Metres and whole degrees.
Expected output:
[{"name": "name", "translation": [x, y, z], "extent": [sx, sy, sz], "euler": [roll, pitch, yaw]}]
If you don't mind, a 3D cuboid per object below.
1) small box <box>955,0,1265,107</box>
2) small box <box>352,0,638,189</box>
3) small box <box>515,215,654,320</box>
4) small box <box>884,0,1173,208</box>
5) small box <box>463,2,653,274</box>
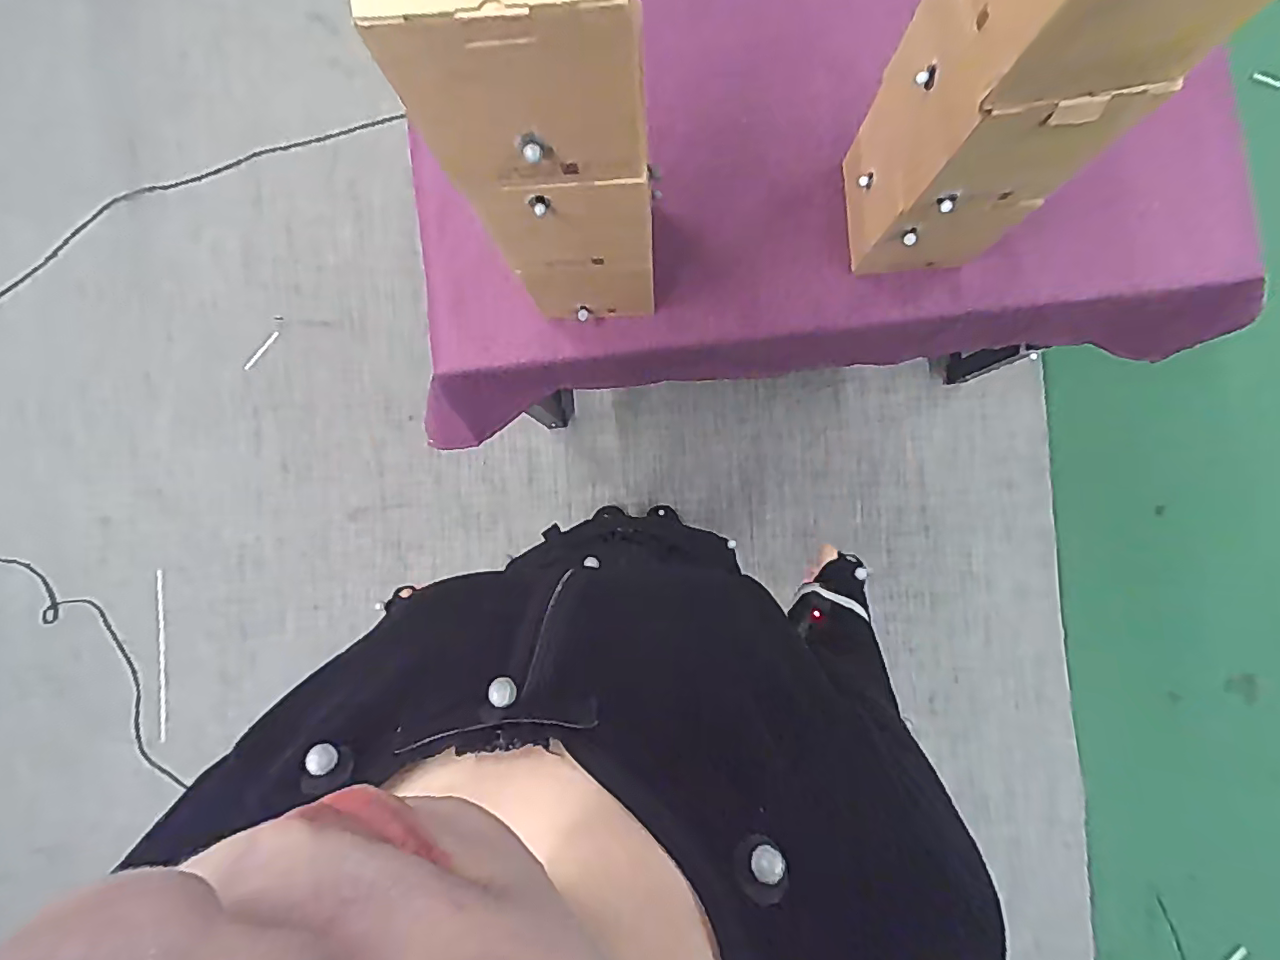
[{"name": "small box", "translation": [0.361, -0.414, 0.390], "extent": [0.179, 0.176, 0.168], "euler": [-8, 86, 3]}, {"name": "small box", "translation": [-0.088, -0.352, 0.403], "extent": [0.168, 0.176, 0.179], "euler": [-3, 87, 3]}, {"name": "small box", "translation": [-0.067, -0.331, 0.731], "extent": [0.168, 0.176, 0.179], "euler": [-1, 87, 3]}, {"name": "small box", "translation": [0.372, -0.404, 0.552], "extent": [0.168, 0.176, 0.179], "euler": [-7, 85, 2]}, {"name": "small box", "translation": [-0.074, -0.339, 0.566], "extent": [0.168, 0.176, 0.179], "euler": [-1, 86, 4]}]
